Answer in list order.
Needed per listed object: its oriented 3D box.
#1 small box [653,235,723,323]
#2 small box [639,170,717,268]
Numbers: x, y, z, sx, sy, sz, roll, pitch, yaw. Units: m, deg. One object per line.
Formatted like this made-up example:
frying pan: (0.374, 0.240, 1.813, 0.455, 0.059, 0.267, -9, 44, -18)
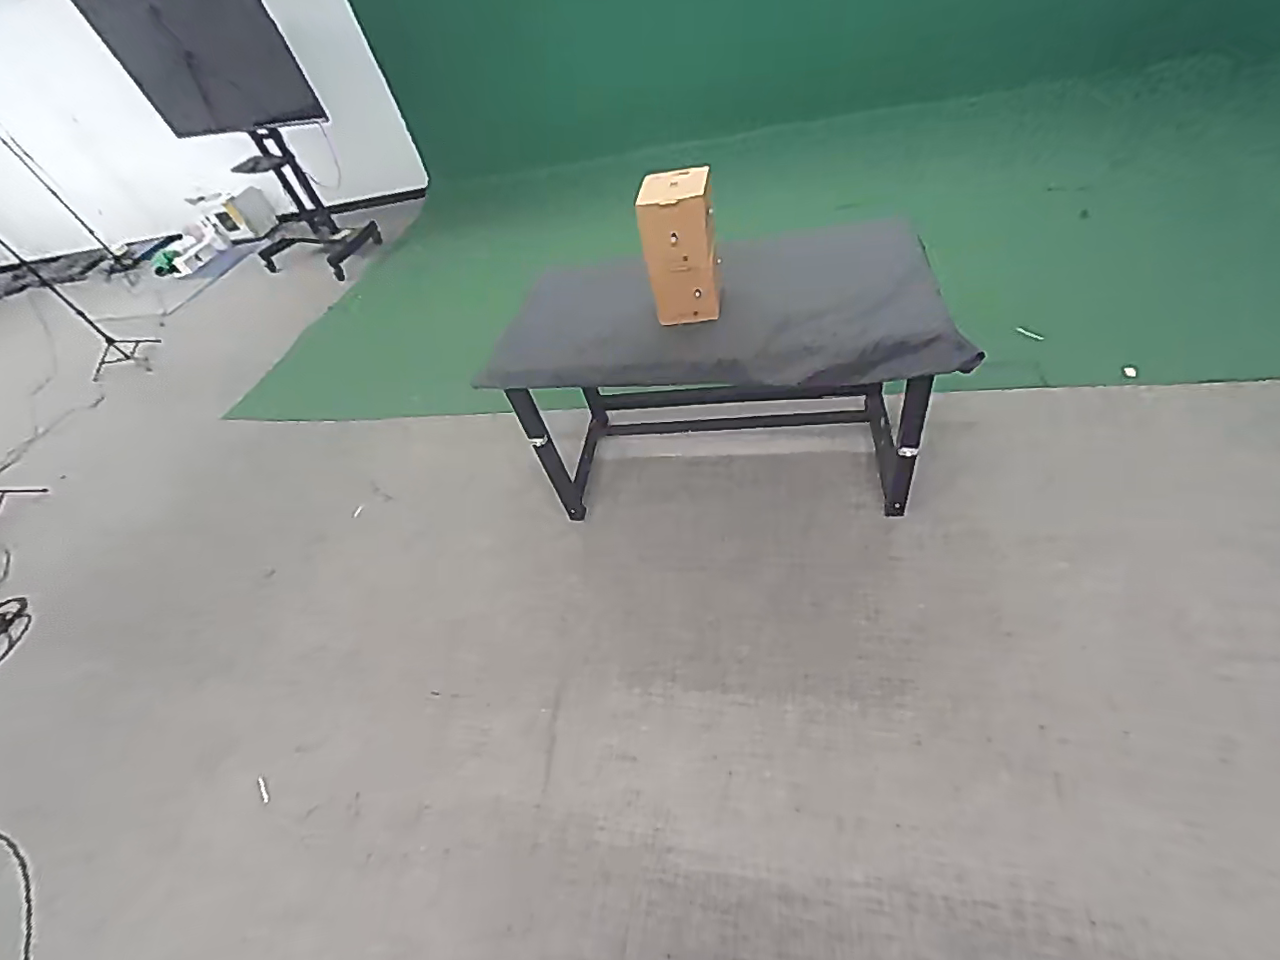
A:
small box: (0.141, -0.549, 1.498, 0.168, 0.176, 0.179, -1, 48, 14)
small box: (0.106, -0.659, 1.382, 0.168, 0.176, 0.179, 0, 51, 14)
